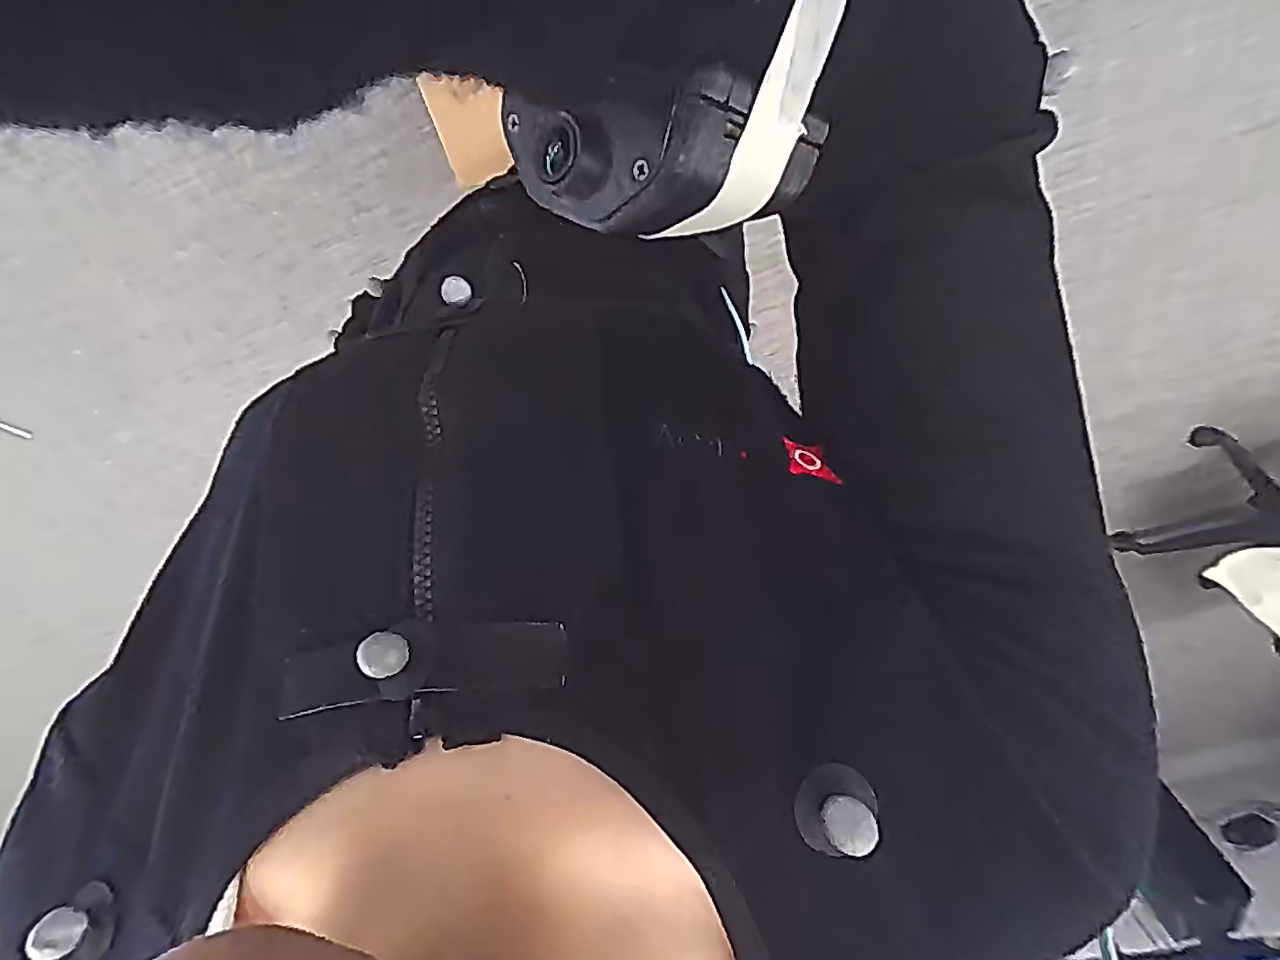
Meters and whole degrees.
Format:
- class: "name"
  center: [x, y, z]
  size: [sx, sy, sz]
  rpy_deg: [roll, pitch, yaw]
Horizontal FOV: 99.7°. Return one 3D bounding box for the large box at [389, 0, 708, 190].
- class: "large box"
  center: [-0.131, -0.712, 0.876]
  size: [0.408, 0.320, 0.320]
  rpy_deg: [-14, 122, 7]
